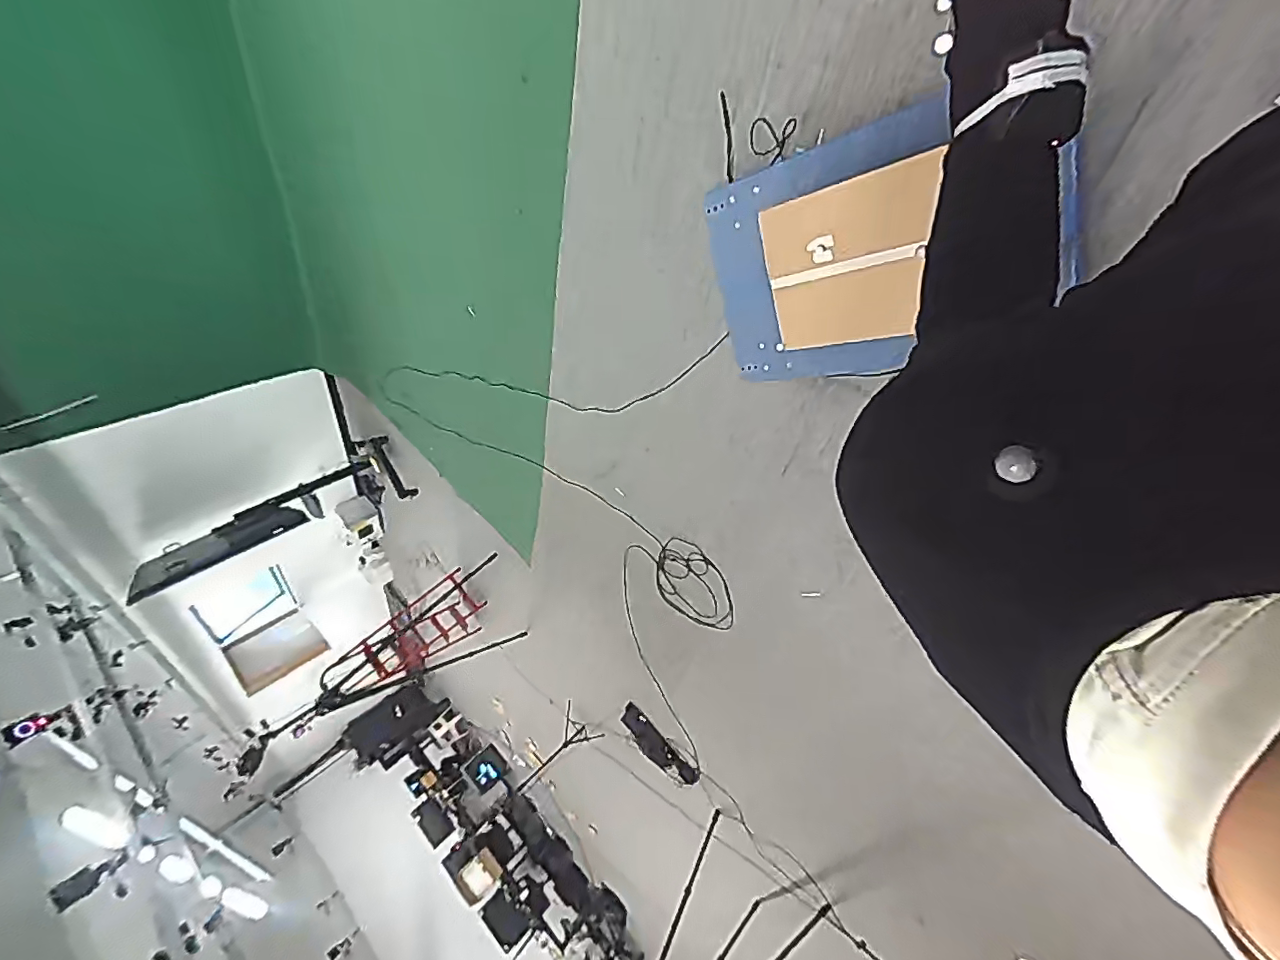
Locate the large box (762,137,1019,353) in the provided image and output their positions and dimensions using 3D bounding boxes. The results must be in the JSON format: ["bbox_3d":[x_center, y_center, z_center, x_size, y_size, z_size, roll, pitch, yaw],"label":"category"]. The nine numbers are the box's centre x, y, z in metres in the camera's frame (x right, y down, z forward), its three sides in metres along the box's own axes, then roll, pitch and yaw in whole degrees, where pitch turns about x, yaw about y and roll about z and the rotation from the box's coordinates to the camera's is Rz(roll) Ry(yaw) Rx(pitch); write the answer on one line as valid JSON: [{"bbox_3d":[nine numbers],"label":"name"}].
[{"bbox_3d":[0.543,-0.493,1.175,0.408,0.320,0.320,5,117,47],"label":"large box"}]
